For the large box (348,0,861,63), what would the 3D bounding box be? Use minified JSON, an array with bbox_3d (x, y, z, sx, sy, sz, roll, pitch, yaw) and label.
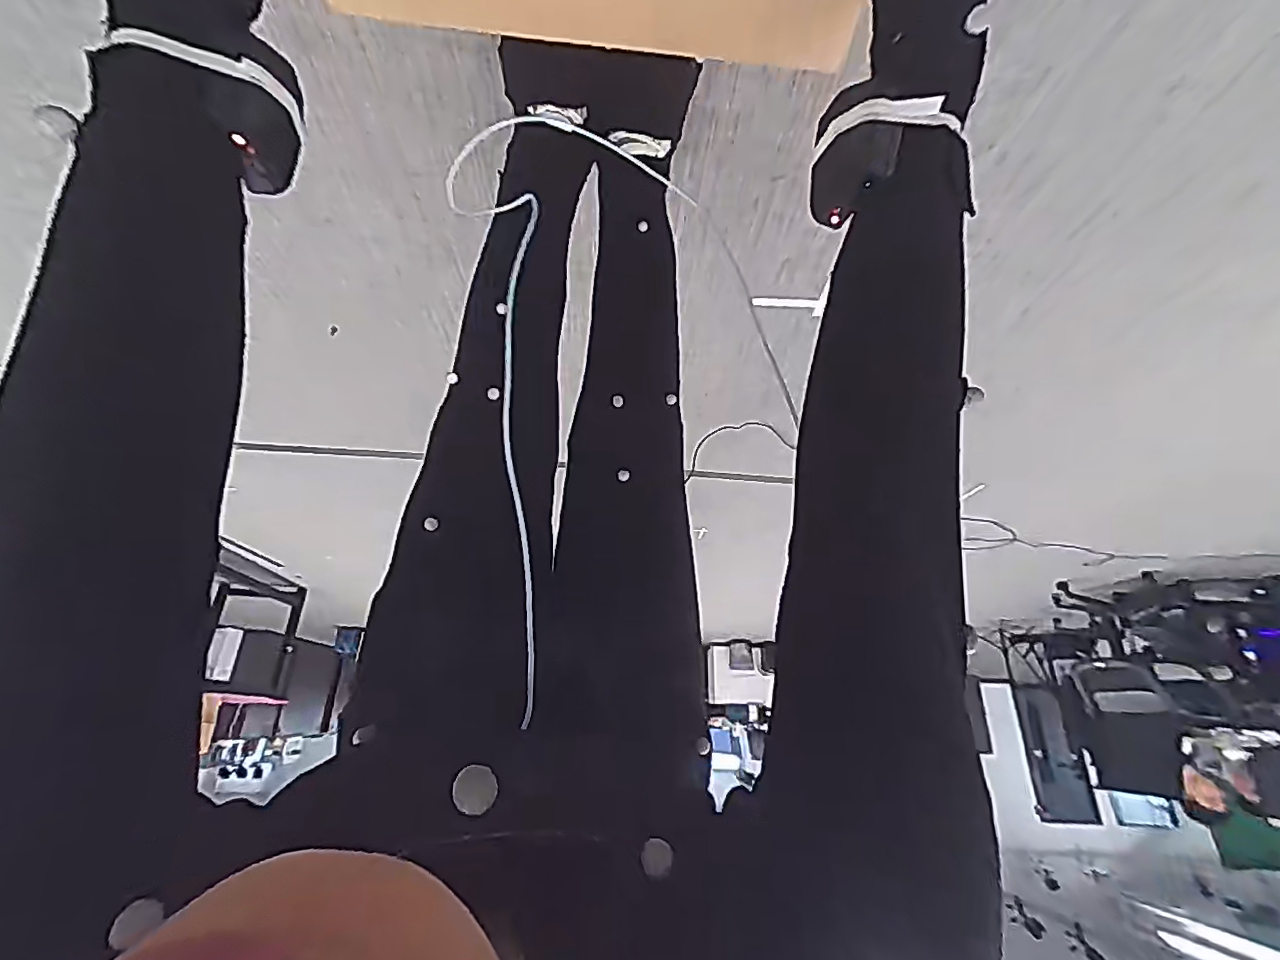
[{"bbox_3d":[-0.018,-0.554,0.362,0.408,0.320,0.320,3,157,-4],"label":"large box"}]
